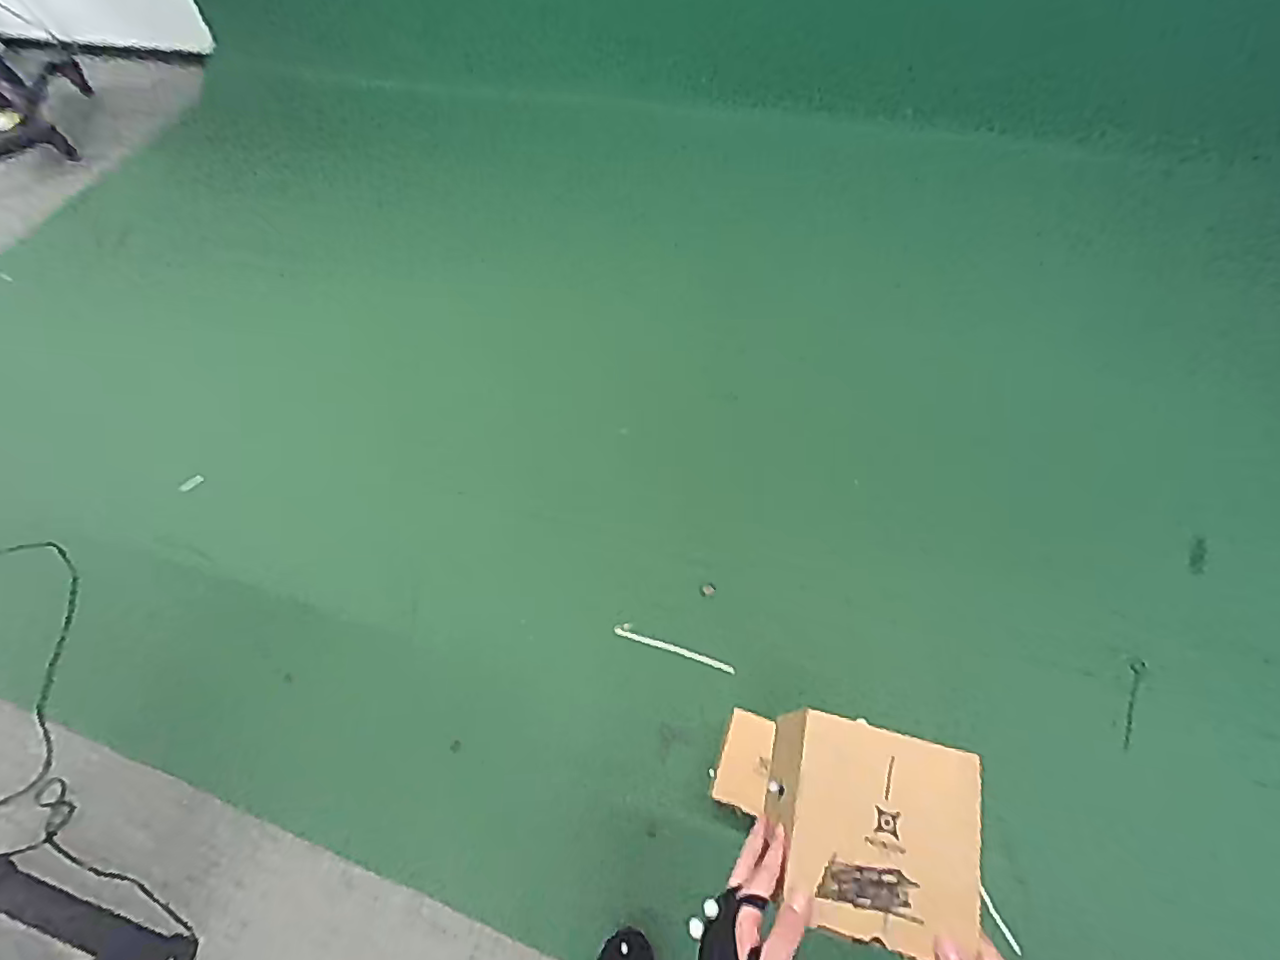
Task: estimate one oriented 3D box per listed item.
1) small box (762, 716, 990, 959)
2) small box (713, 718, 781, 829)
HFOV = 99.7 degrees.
[{"bbox_3d":[0.228,0.361,0.553,0.168,0.176,0.179,13,63,8],"label":"small box"},{"bbox_3d":[0.256,0.631,1.149,0.168,0.176,0.179,16,63,13],"label":"small box"}]
